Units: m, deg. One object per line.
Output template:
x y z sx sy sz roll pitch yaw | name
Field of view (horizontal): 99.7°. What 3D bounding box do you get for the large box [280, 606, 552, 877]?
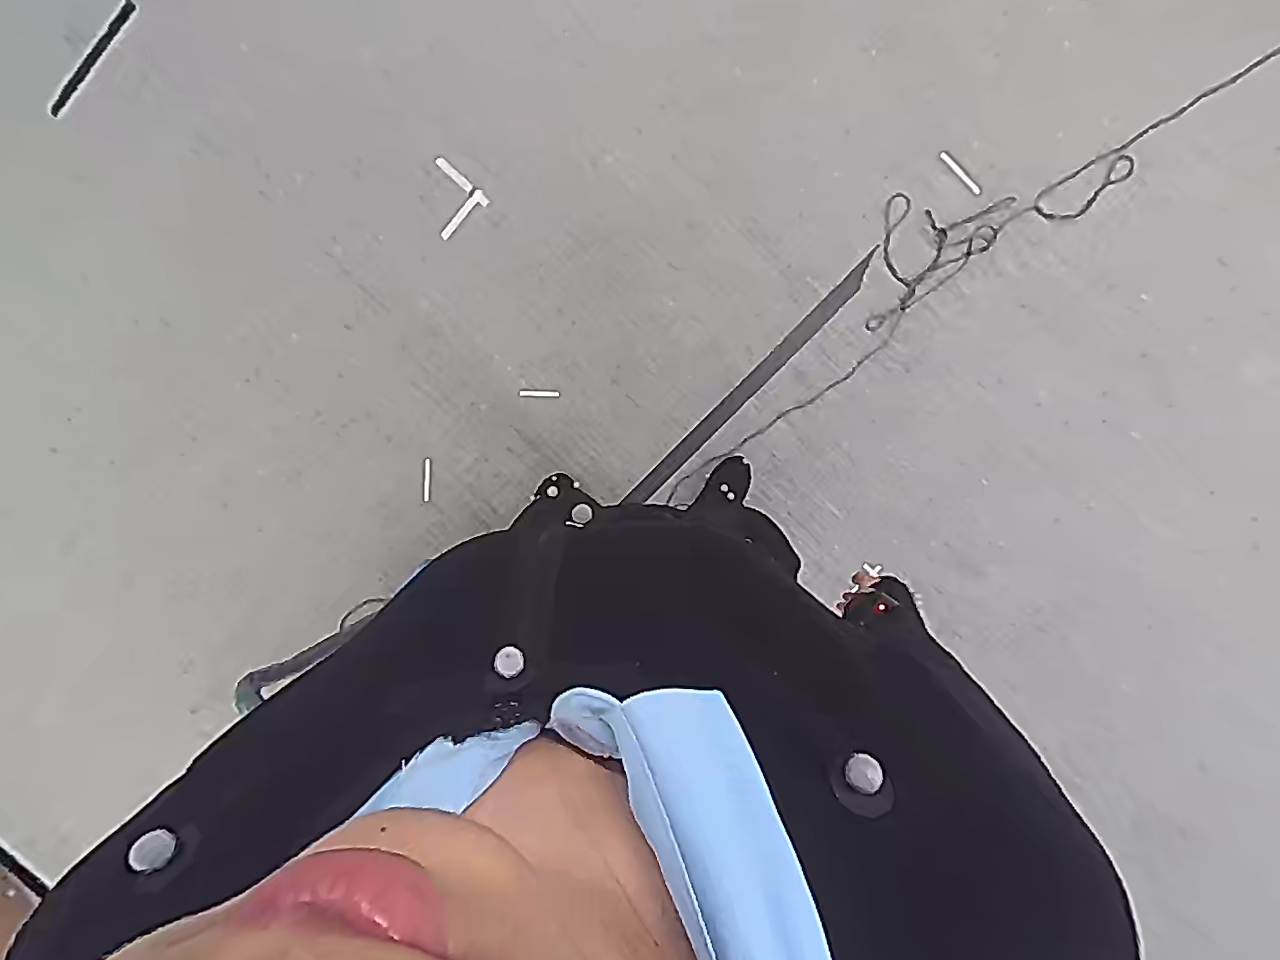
-0.471 0.559 1.224 0.408 0.320 0.320 37 94 0 | large box
